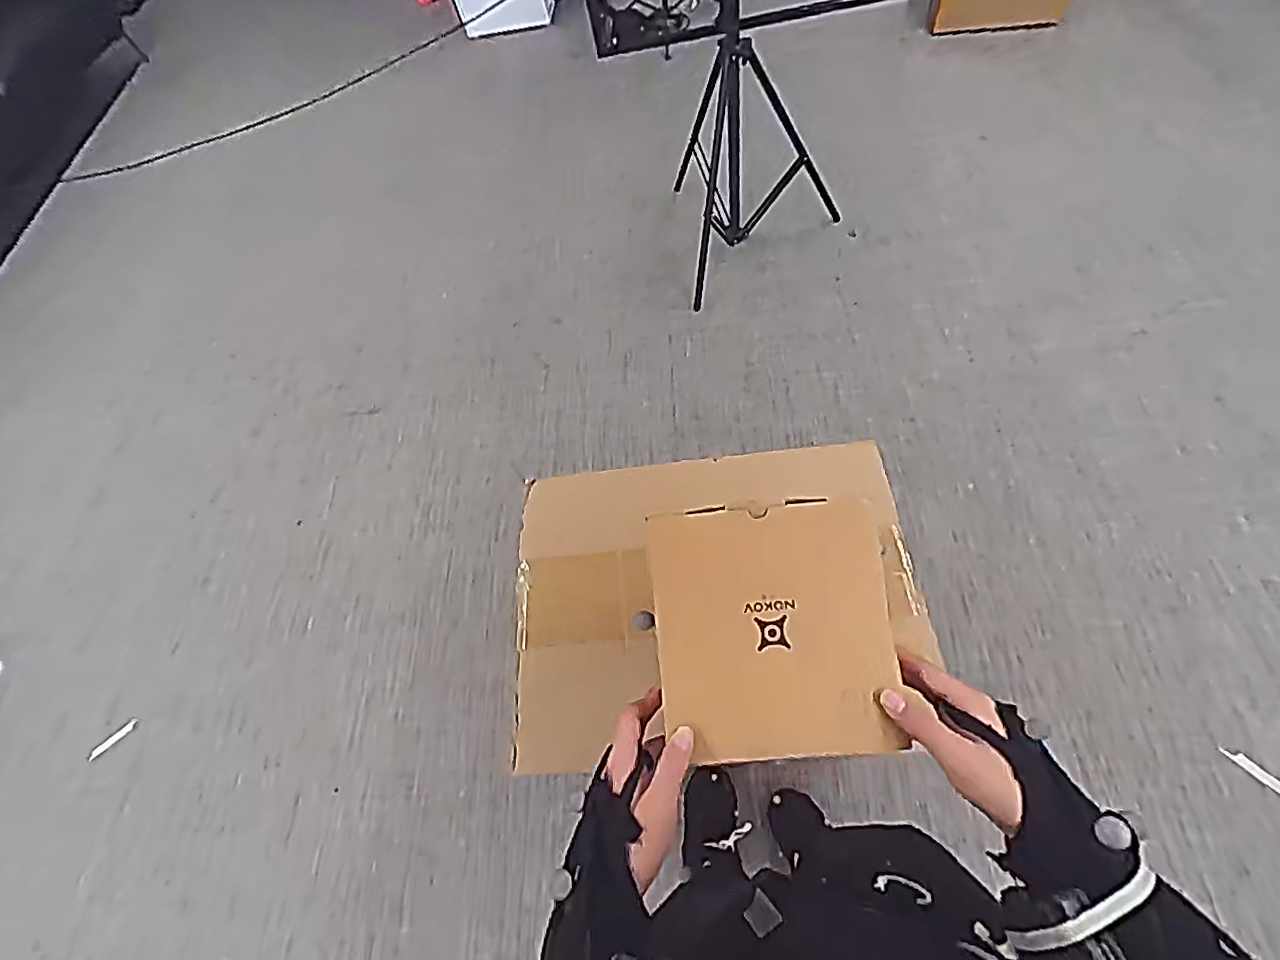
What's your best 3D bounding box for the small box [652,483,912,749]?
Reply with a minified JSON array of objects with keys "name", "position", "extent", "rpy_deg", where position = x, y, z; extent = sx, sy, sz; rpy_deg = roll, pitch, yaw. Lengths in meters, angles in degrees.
[{"name":"small box","position":[0.103,0.108,0.460],"extent":[0.168,0.176,0.179],"rpy_deg":[-6,79,4]}]
